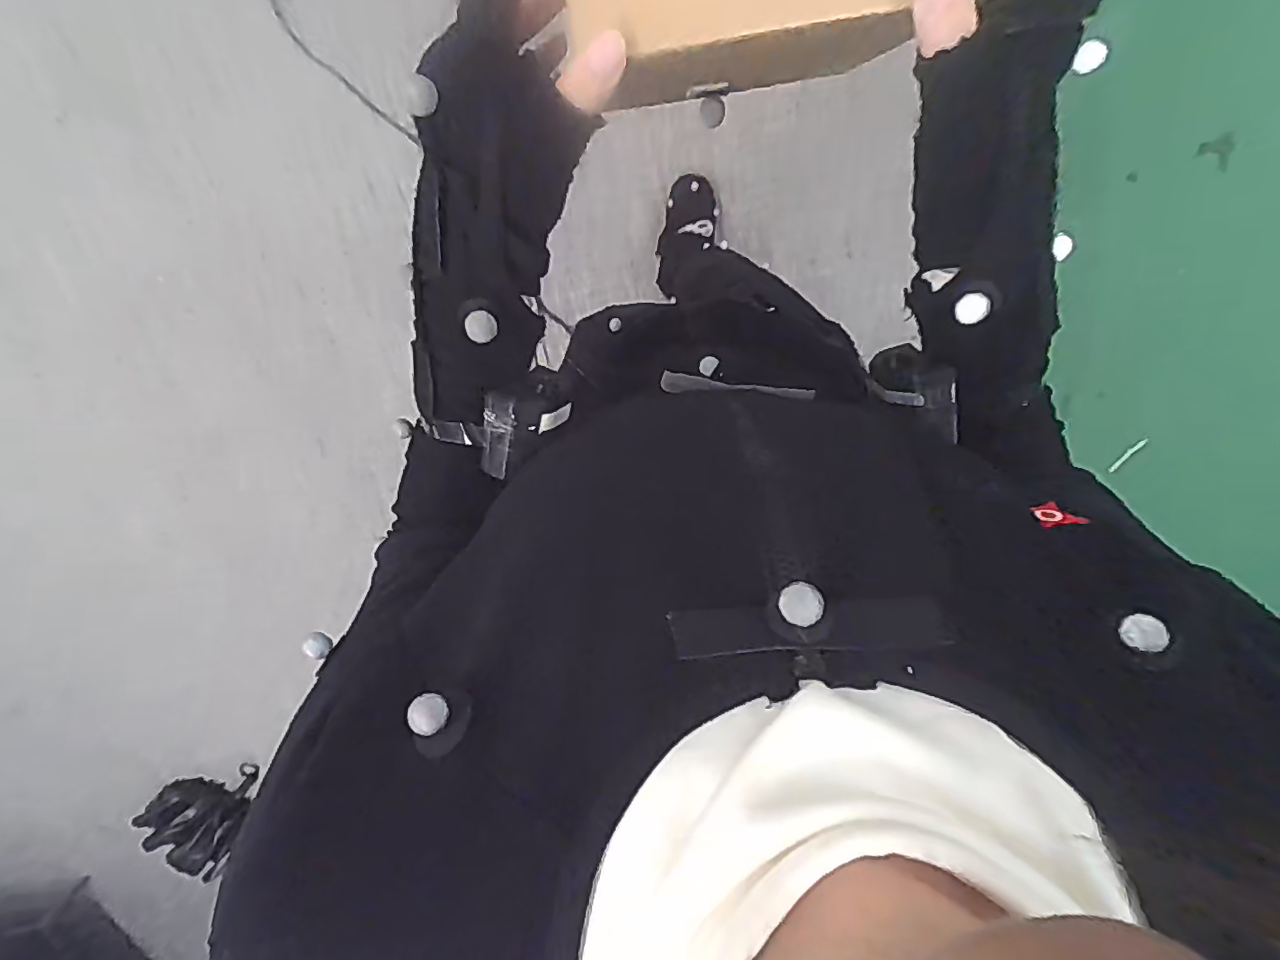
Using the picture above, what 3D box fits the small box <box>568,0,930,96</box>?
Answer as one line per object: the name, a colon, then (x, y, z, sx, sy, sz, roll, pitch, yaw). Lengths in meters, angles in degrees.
small box: (0.040, -0.298, 0.238, 0.168, 0.176, 0.179, -8, 119, 3)
